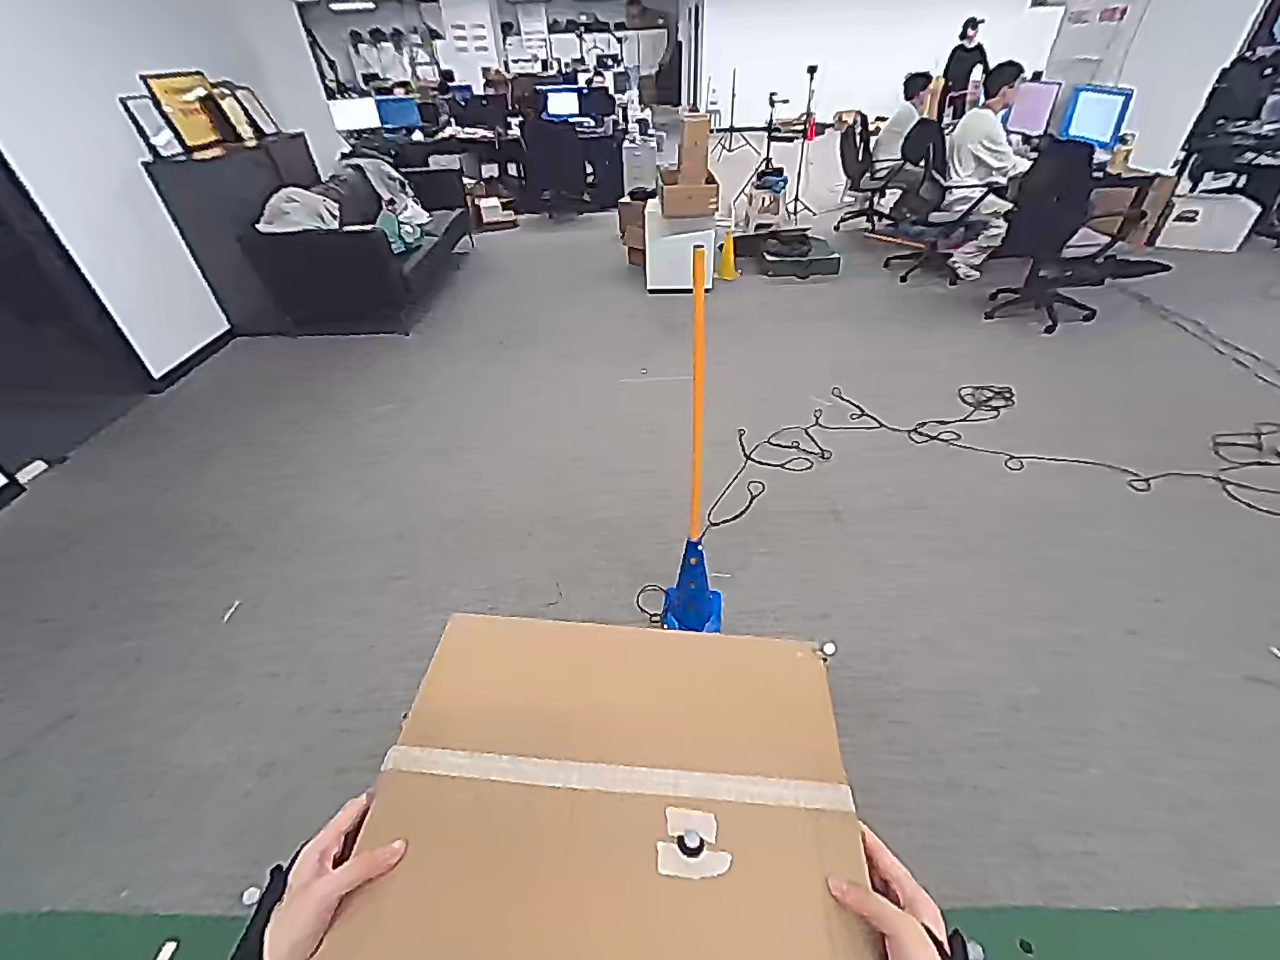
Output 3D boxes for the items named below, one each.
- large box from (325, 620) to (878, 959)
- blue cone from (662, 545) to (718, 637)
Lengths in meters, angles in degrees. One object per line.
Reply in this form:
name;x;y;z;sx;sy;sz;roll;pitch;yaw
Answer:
large box;-0.024;0.379;0.576;0.408;0.320;0.320;4;41;2
blue cone;0.169;0.347;1.762;0.193;0.380;0.192;4;39;9
